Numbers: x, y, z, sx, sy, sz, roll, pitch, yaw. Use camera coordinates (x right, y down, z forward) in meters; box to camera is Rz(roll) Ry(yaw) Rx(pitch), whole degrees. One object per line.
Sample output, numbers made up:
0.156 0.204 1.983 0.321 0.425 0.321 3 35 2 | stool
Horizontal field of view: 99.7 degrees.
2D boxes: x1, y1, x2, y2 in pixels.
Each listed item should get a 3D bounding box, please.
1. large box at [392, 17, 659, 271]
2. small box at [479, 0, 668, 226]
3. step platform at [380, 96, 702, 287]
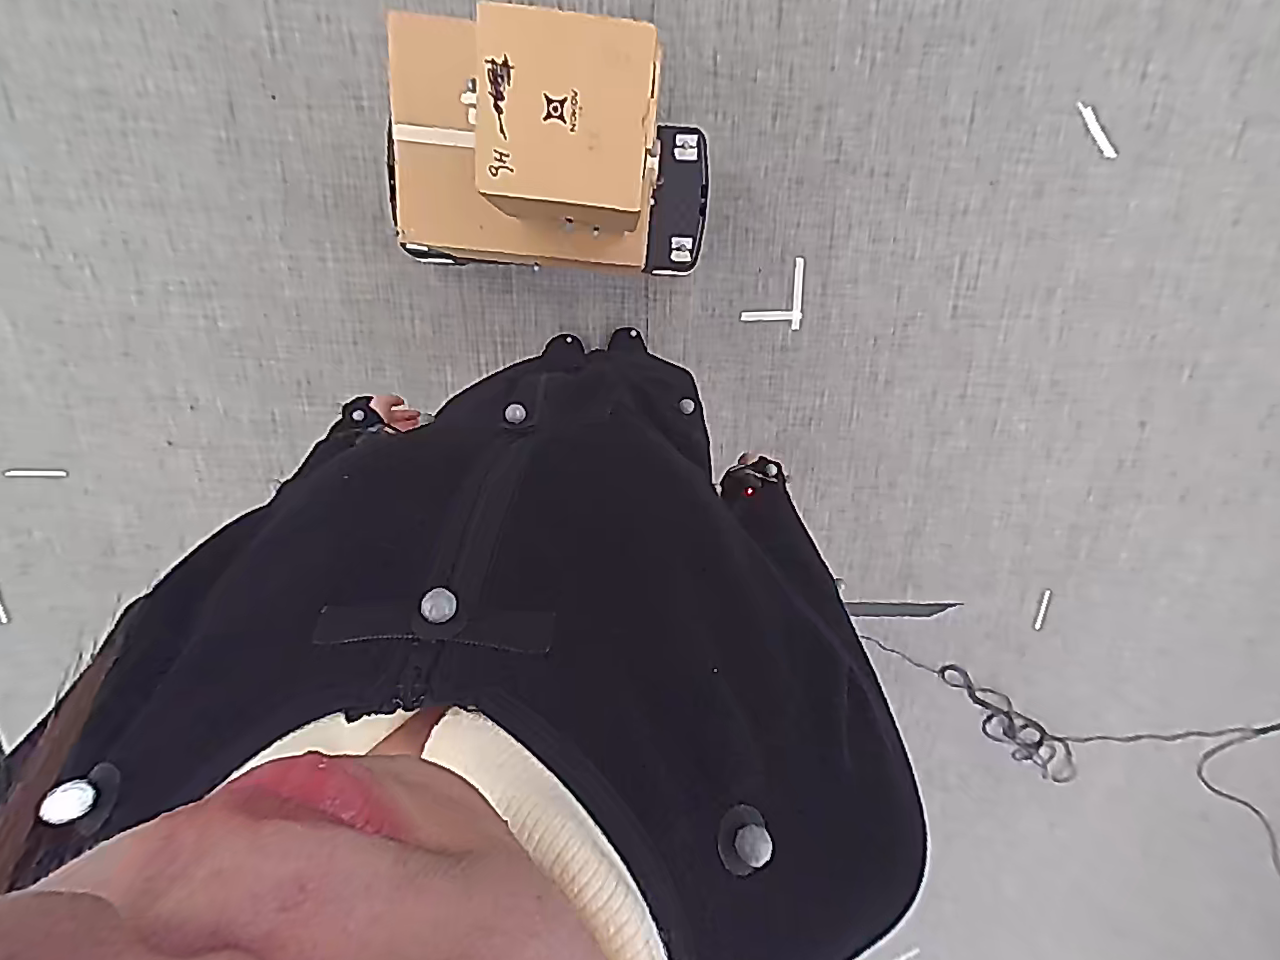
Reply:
-0.175 -0.560 0.976 0.408 0.320 0.320 4 107 -3 | large box
-0.073 -0.391 0.605 0.179 0.176 0.168 5 107 -5 | small box
-0.206 -0.624 1.204 0.684 0.204 0.286 7 108 -4 | step platform
